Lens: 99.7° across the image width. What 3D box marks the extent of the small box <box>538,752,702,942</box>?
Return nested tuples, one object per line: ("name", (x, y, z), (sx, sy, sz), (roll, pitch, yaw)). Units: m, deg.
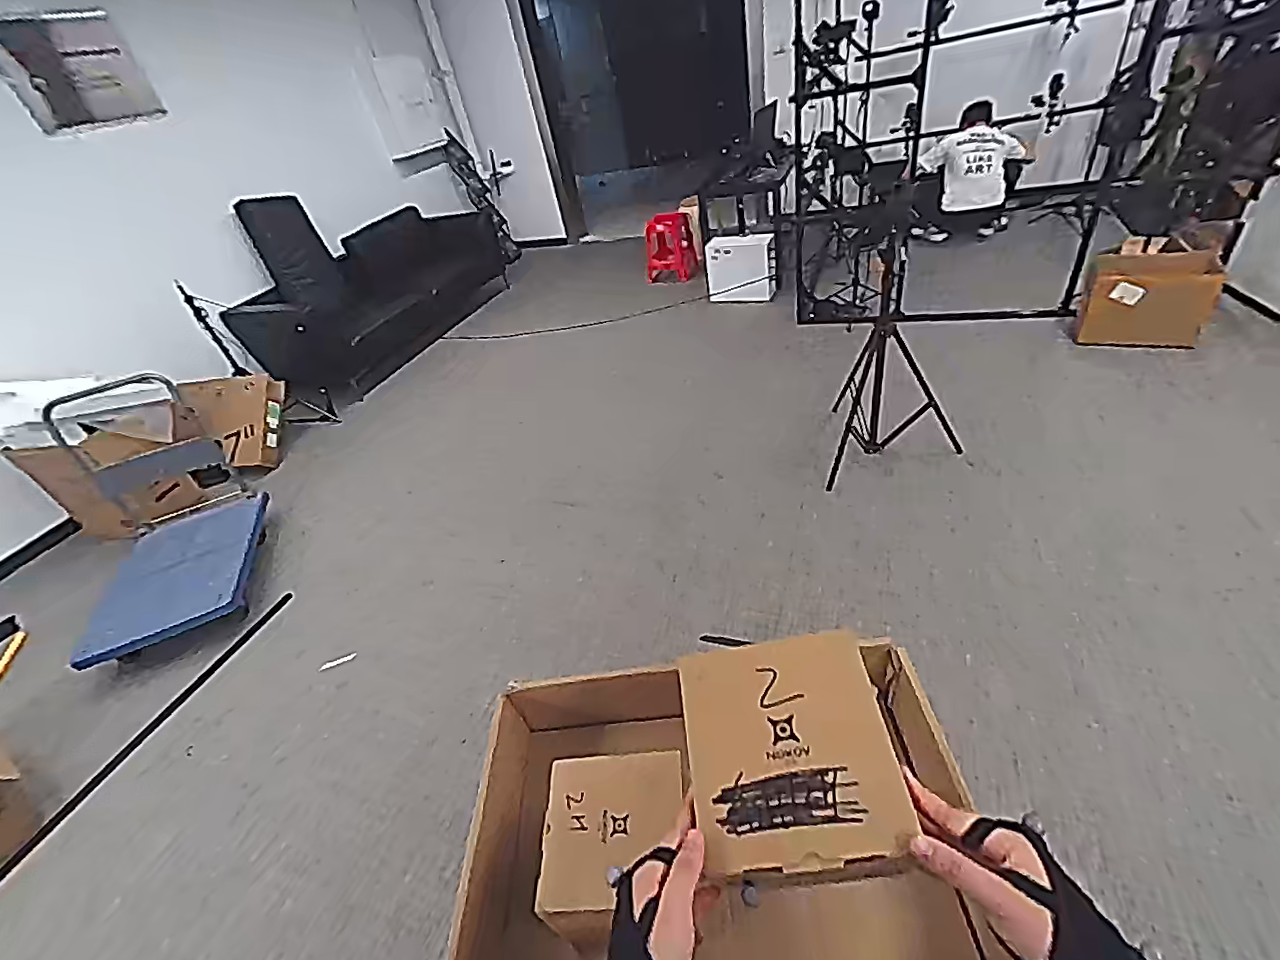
("small box", (-0.014, 0.477, 0.704), (0.179, 0.176, 0.168), (-8, 39, 7))
